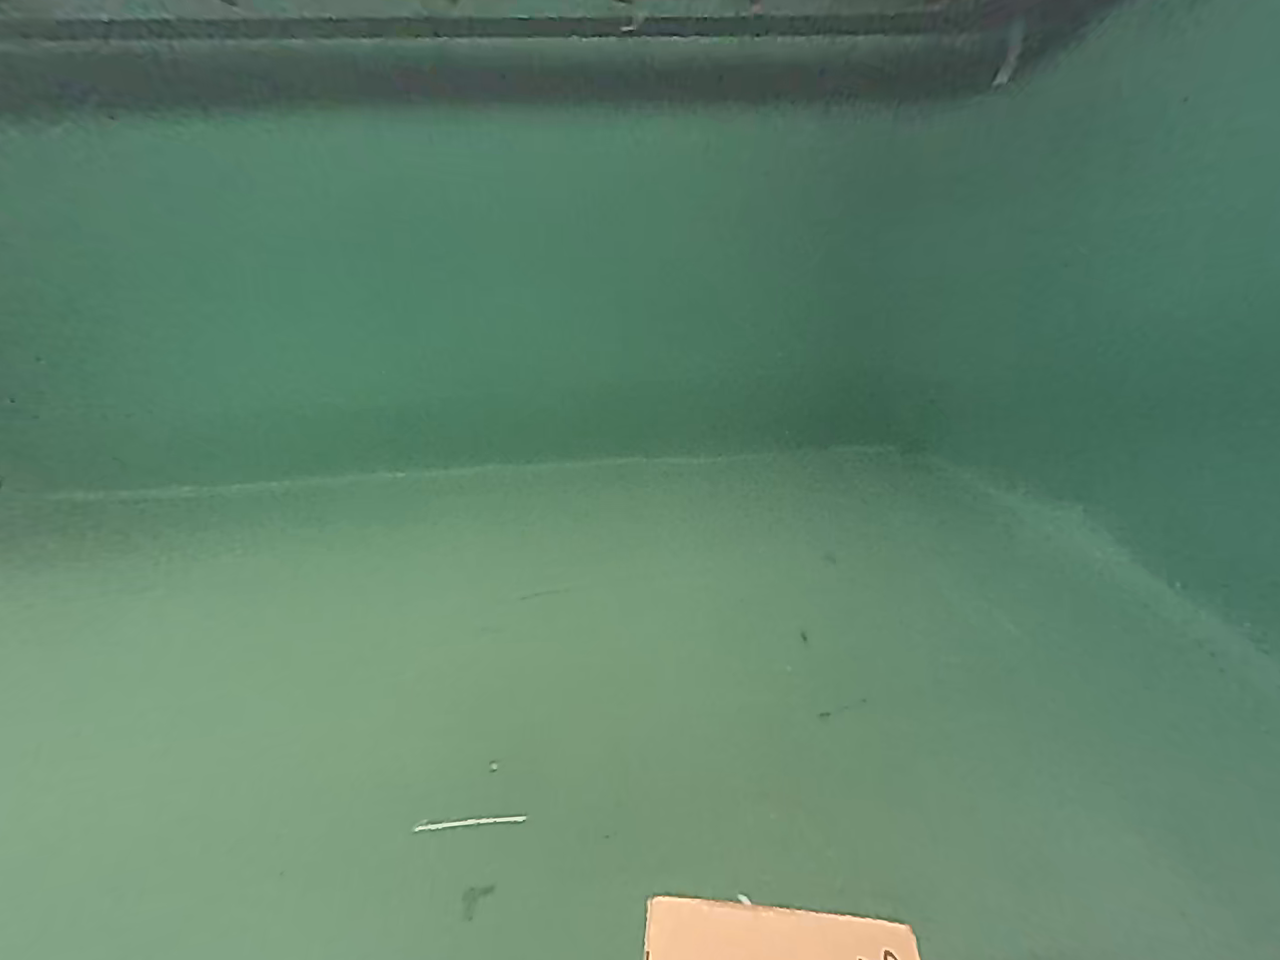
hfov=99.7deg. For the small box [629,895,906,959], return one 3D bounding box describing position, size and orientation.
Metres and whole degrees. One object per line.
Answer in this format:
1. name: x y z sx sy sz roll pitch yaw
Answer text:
1. small box: 0.077 0.399 0.339 0.179 0.176 0.168 2 33 5
